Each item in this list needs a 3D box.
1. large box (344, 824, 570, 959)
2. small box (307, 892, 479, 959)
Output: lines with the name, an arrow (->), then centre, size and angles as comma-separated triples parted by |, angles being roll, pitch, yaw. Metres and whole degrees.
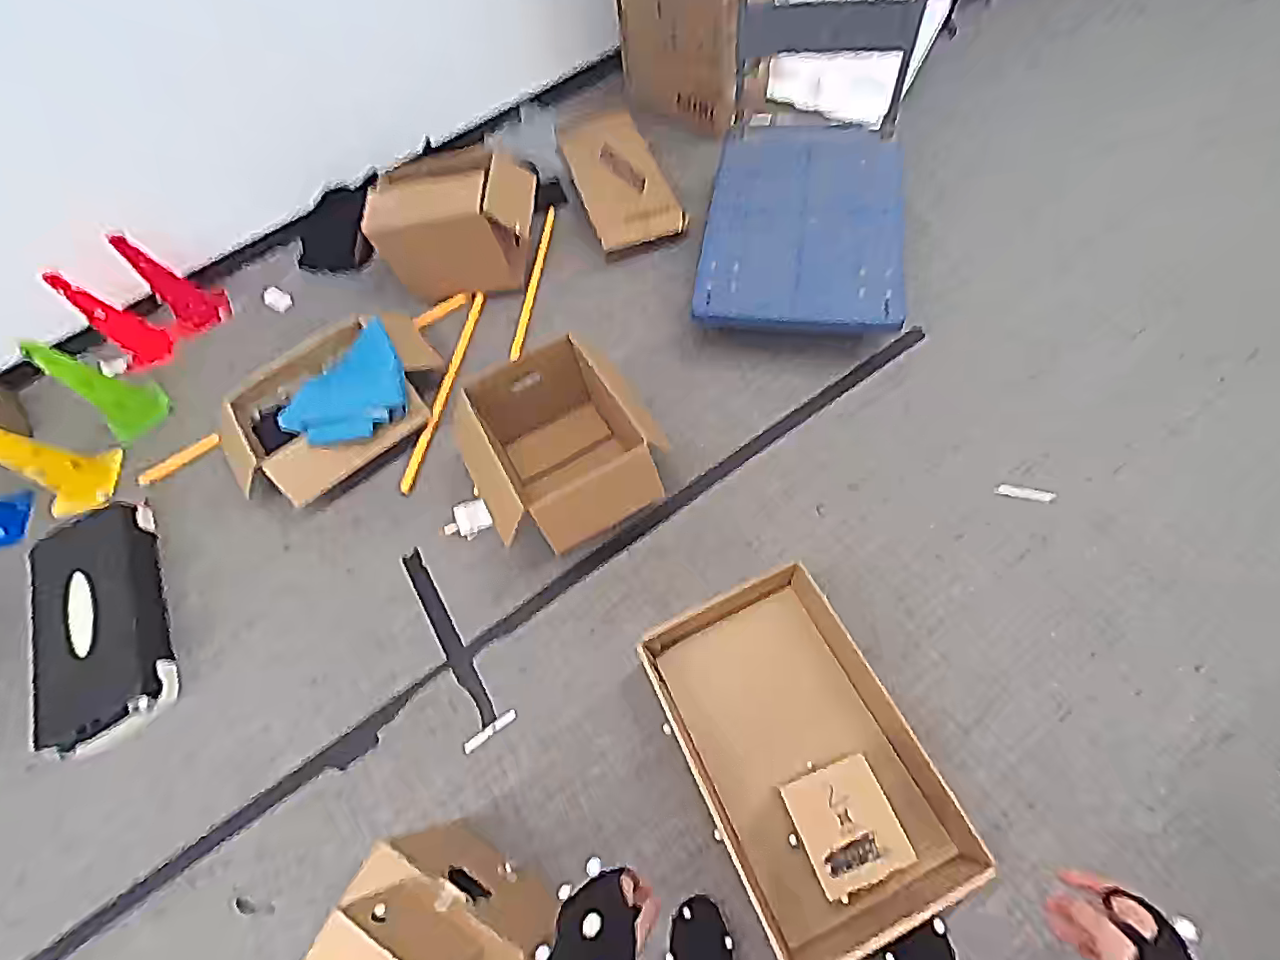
large box -> -0.375, 0.896, 0.933 | 0.320, 0.320, 0.408 | 23, 69, 19
small box -> -0.360, 0.711, 0.747 | 0.179, 0.176, 0.168 | 22, 69, 17
